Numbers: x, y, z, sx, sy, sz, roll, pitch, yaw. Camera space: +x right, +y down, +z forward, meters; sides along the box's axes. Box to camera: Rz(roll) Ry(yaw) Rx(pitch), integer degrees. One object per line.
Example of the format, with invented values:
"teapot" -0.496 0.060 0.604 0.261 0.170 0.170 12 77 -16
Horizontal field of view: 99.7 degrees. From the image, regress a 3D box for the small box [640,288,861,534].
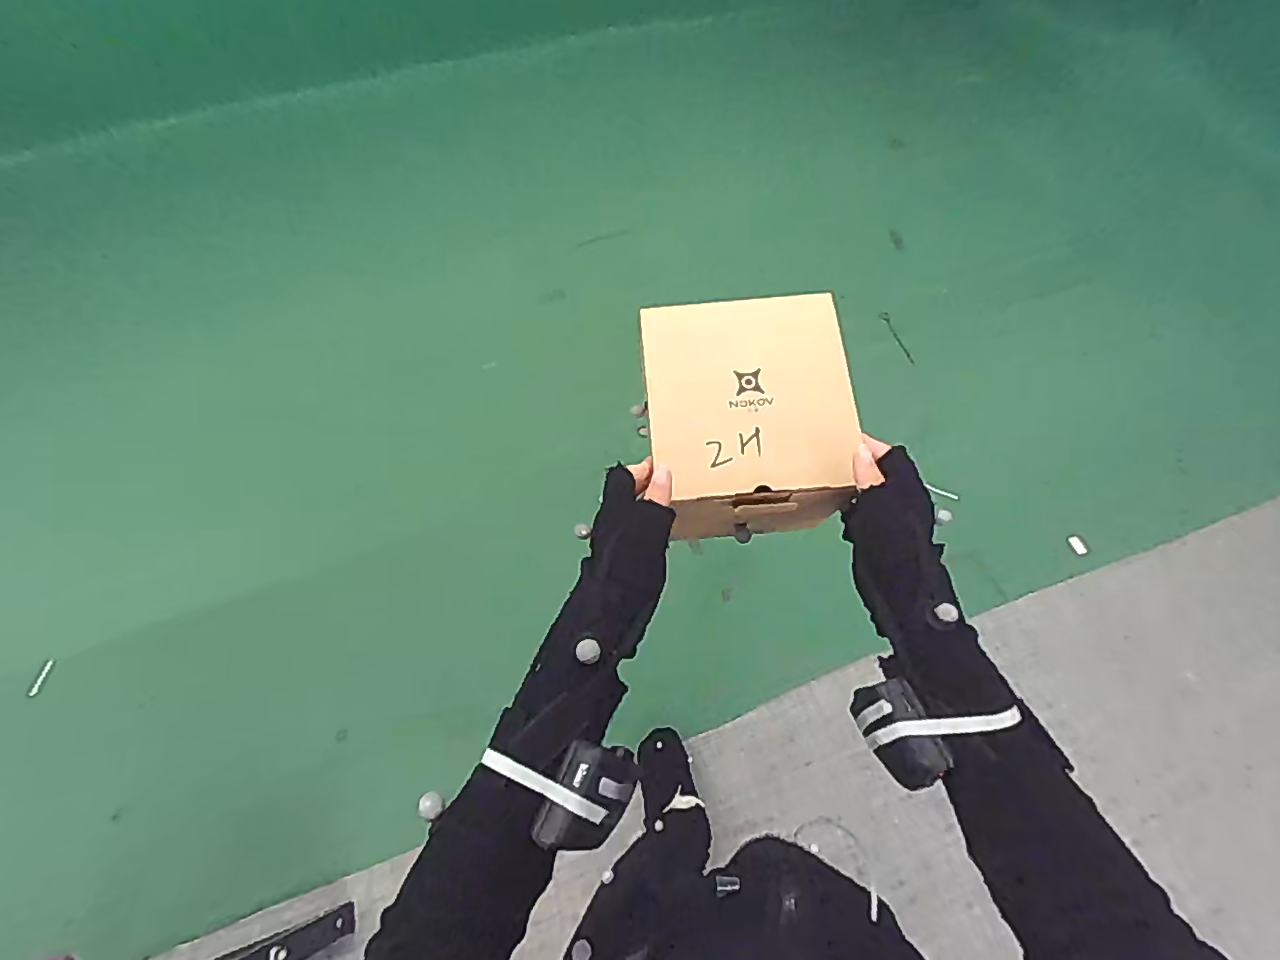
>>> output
"small box" 0.087 -0.054 0.518 0.168 0.176 0.179 -5 74 2
